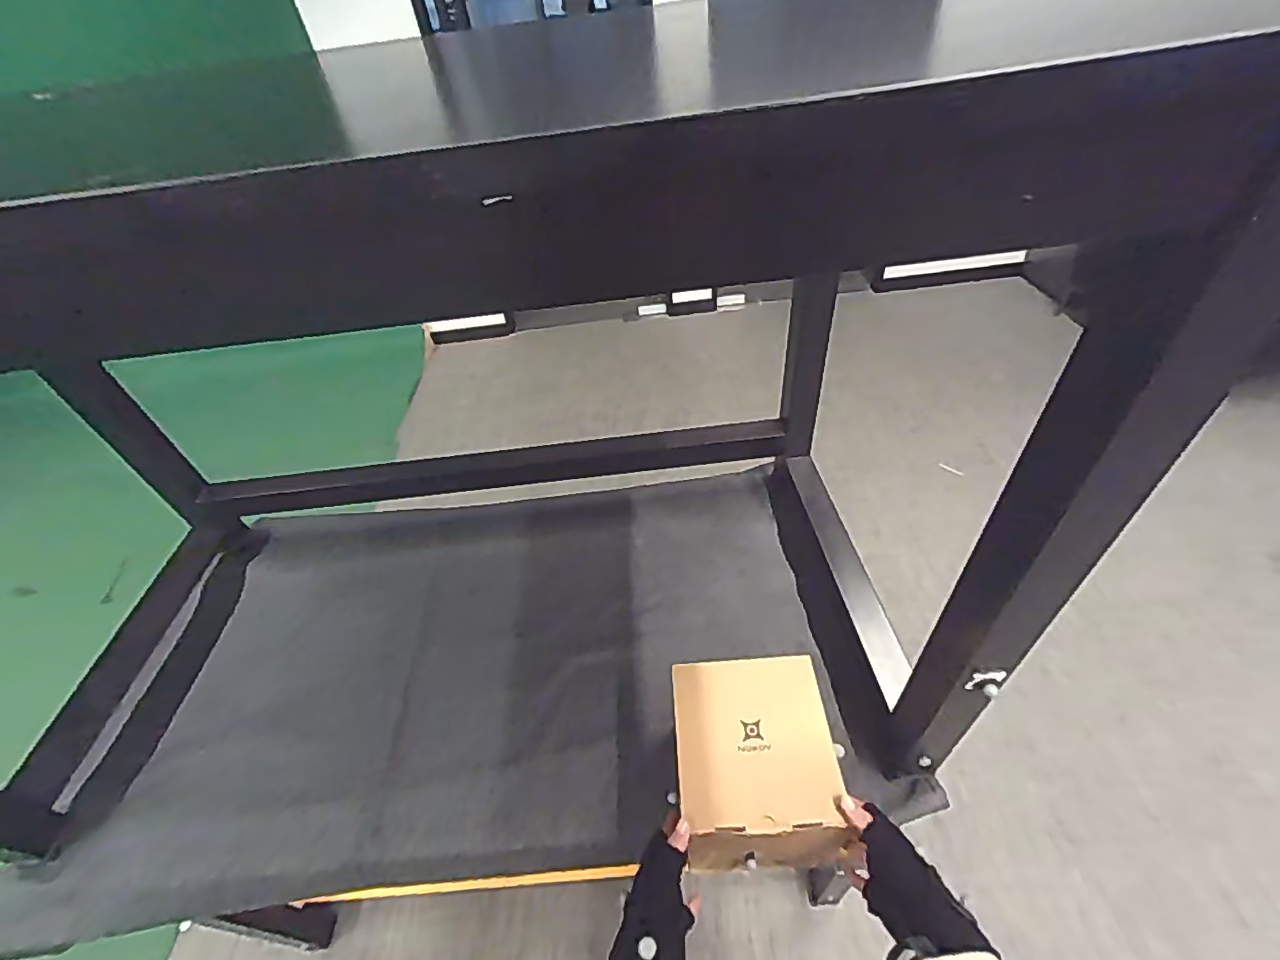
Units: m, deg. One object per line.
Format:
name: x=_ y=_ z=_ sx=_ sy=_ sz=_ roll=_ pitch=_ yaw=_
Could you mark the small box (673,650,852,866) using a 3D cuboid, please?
small box: x=0.128 y=0.323 z=0.631 sx=0.168 sy=0.176 sz=0.179 roll=-6 pitch=43 yaw=4
